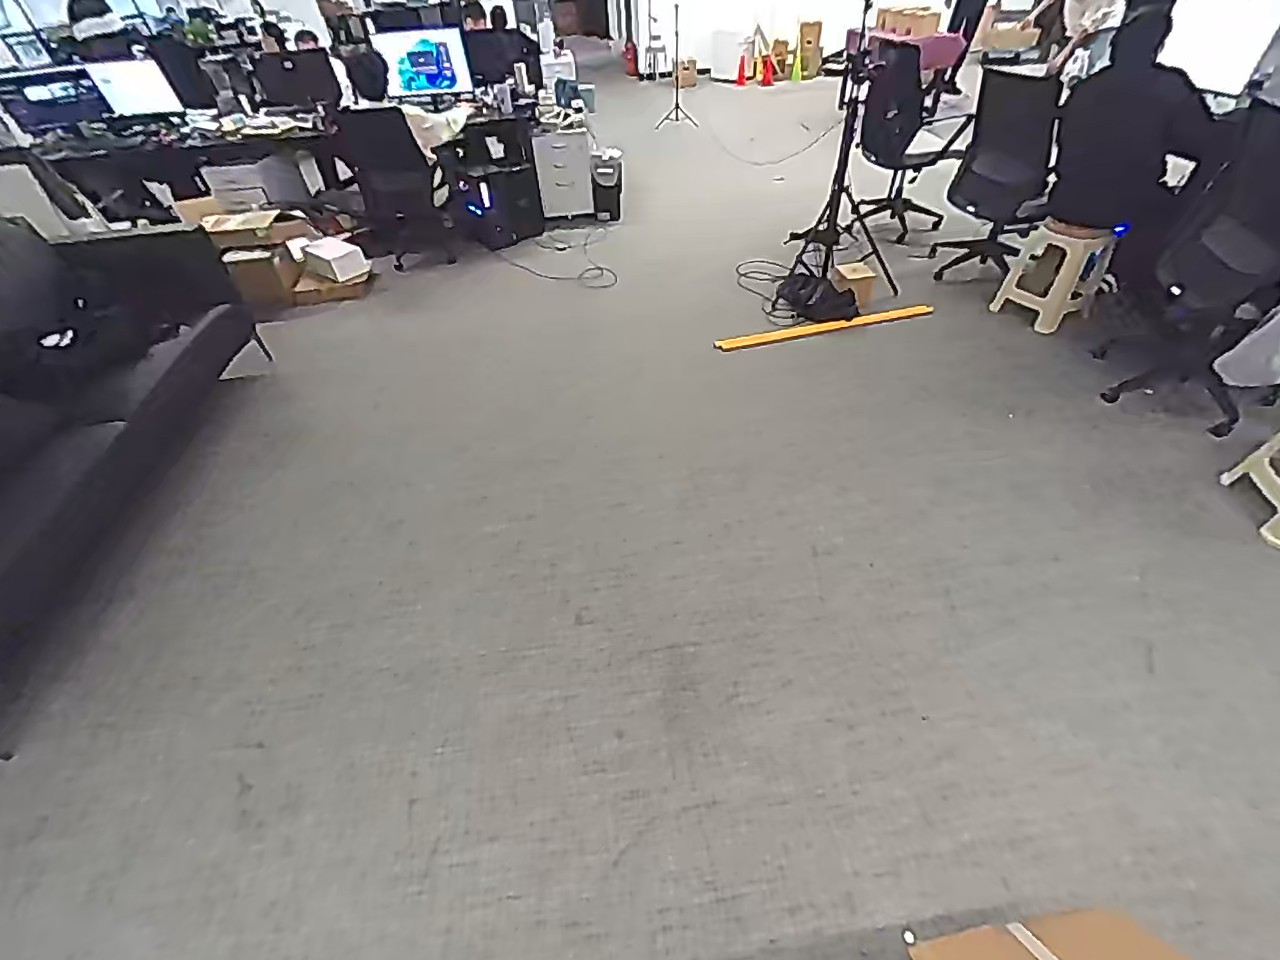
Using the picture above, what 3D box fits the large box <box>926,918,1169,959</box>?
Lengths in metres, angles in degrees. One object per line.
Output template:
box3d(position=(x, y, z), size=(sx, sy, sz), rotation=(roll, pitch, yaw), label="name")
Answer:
box3d(position=(0.568, 0.778, 0.560), size=(0.320, 0.408, 0.320), rotation=(-10, 82, -2), label="large box")
